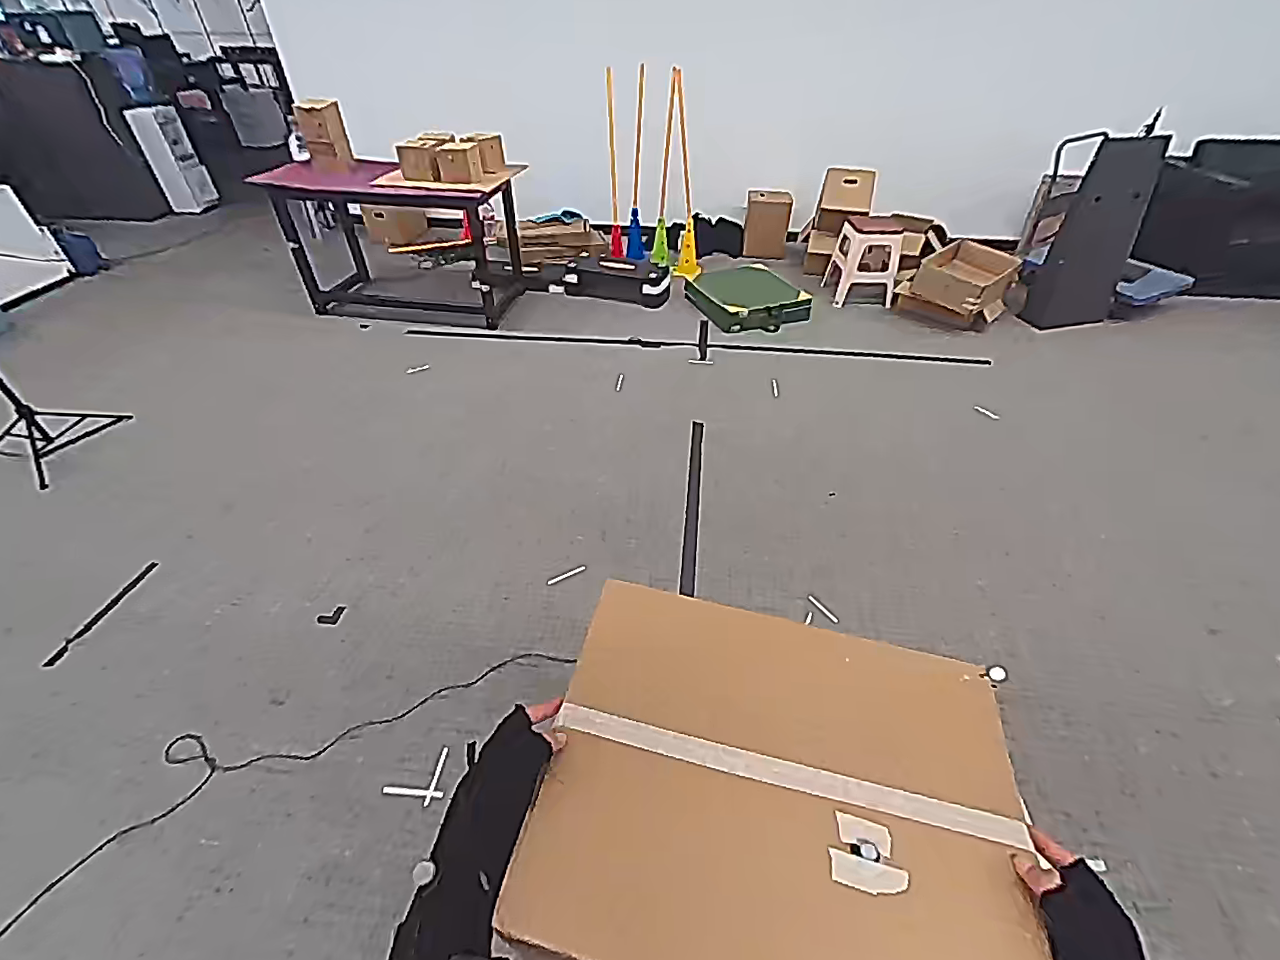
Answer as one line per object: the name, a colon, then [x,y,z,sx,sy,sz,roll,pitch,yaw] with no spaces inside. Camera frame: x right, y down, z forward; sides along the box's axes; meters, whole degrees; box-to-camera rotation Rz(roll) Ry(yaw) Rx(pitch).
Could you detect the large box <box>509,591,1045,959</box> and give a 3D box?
large box: [0.114,0.369,0.583,0.408,0.320,0.320,12,46,7]
